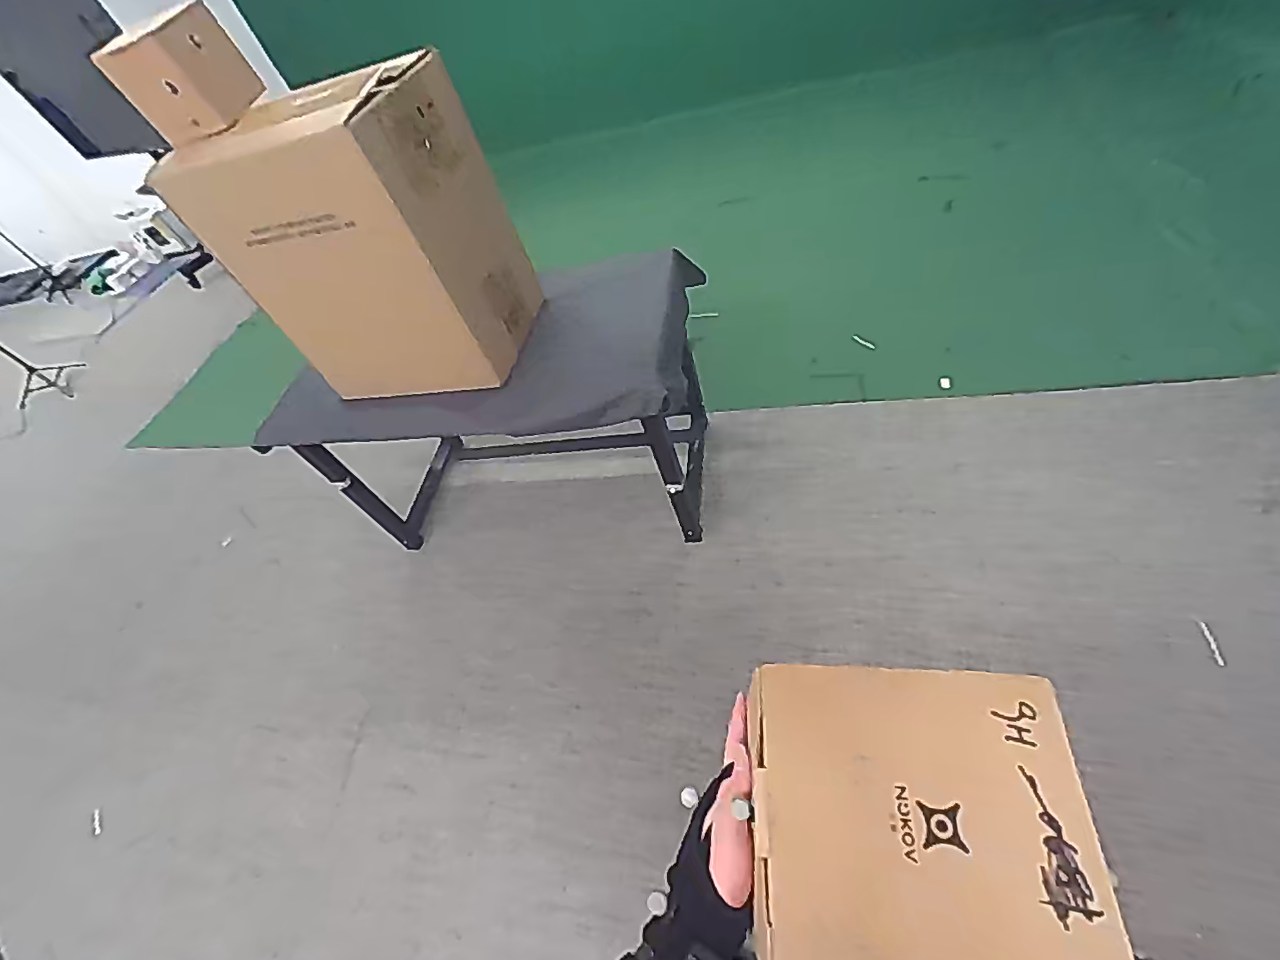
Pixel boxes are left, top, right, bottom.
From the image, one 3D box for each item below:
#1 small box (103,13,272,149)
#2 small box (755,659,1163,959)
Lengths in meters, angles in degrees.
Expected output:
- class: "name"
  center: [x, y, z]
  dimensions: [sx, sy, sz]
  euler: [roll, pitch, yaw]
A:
- class: "small box"
  center: [-0.914, -0.810, 1.113]
  dimensions: [0.168, 0.176, 0.179]
  euler: [-3, 54, 15]
- class: "small box"
  center: [0.167, 0.225, 0.350]
  dimensions: [0.179, 0.176, 0.168]
  euler: [0, 57, 8]
